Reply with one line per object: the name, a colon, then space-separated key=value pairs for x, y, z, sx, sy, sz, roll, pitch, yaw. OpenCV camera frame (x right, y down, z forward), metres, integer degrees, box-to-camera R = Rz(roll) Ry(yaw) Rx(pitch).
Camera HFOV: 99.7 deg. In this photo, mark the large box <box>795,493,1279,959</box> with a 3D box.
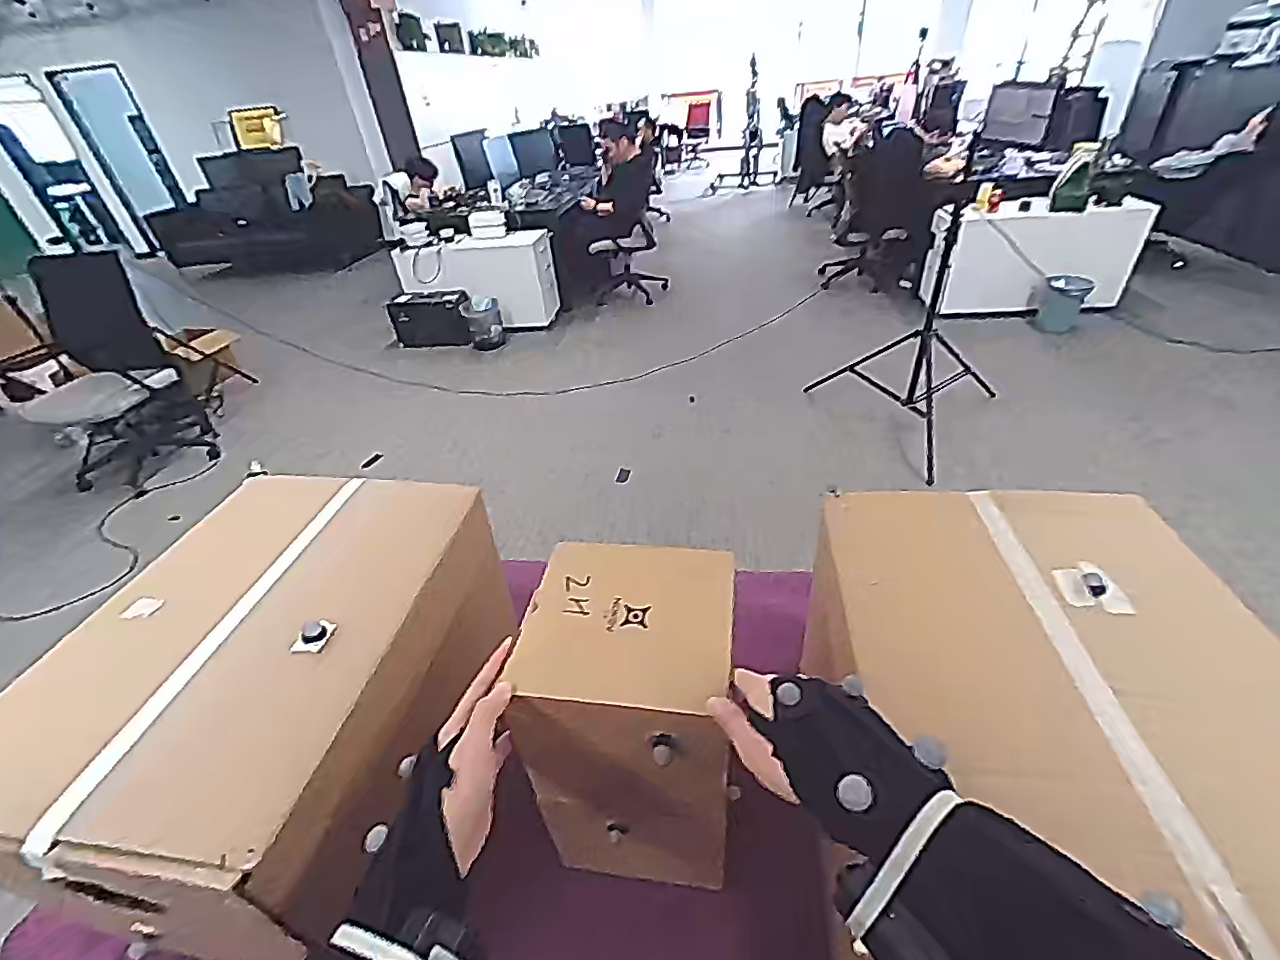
large box: x=0.333 y=0.255 z=0.501 sx=0.320 sy=0.320 sz=0.408 roll=1 pitch=35 yaw=8
